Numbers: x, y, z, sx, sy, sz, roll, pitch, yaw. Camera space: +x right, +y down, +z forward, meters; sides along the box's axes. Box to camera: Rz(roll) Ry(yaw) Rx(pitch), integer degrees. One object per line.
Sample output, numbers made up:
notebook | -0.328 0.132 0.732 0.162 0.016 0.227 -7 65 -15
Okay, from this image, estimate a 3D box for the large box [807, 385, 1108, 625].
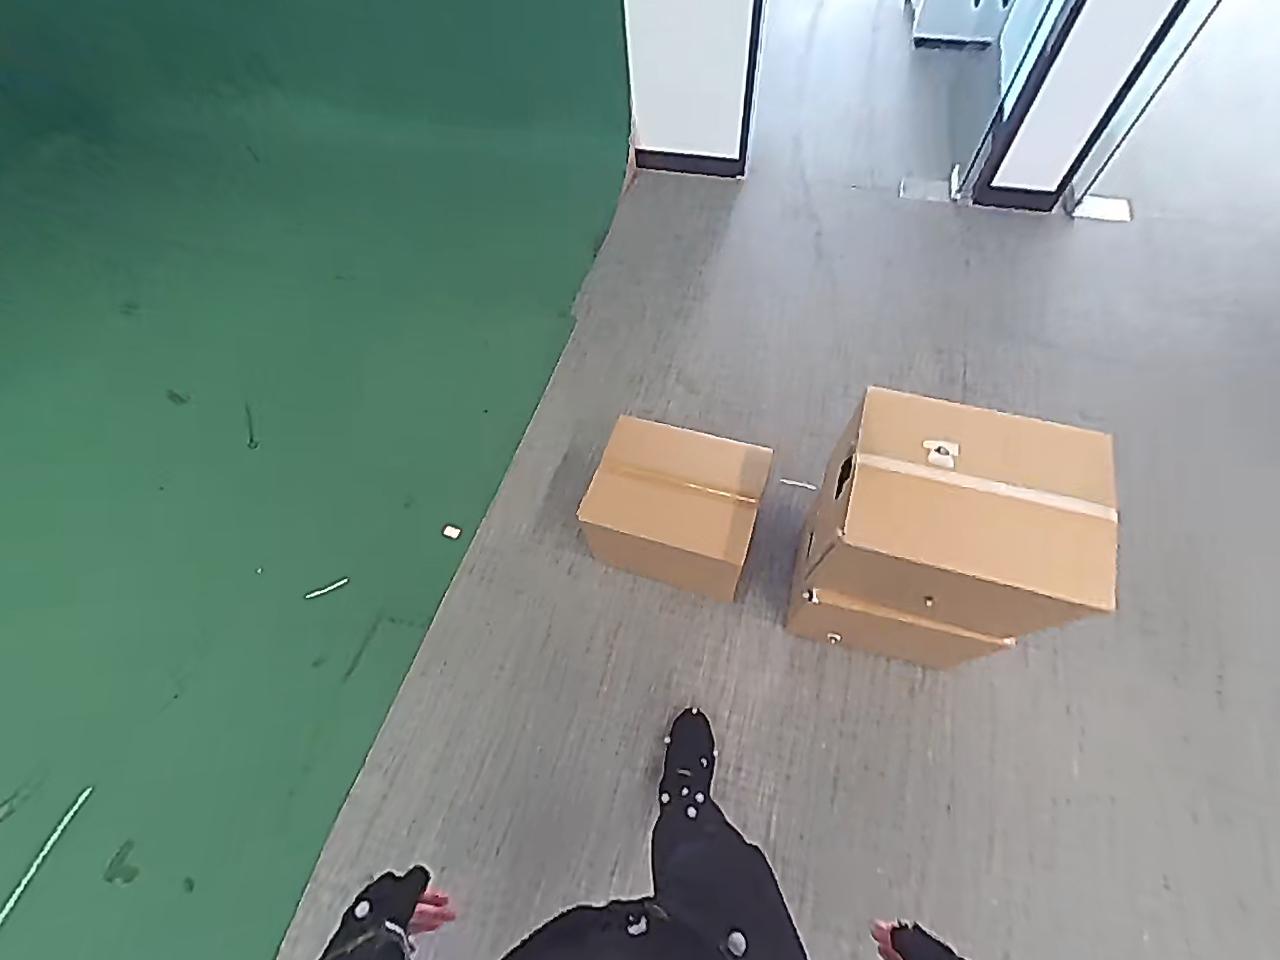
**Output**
large box | 0.571 0.061 1.034 0.408 0.320 0.320 14 68 13
